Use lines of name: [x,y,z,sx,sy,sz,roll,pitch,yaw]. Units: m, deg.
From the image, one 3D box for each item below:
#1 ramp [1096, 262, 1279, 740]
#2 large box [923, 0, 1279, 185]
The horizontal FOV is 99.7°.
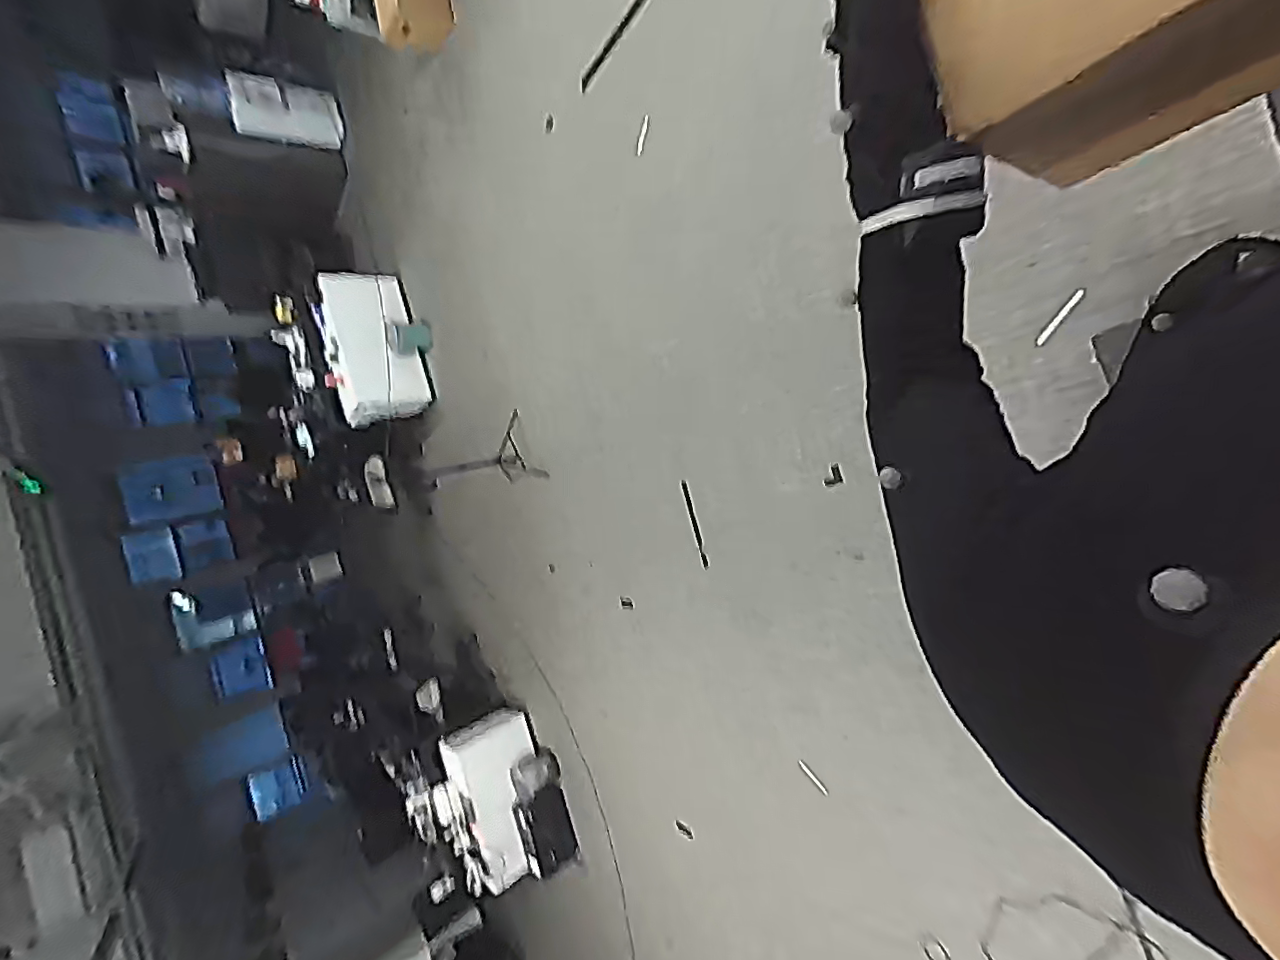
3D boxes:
ramp: [1.318,0.071,0.990,0.509,0.206,0.991,-23,84,49]
large box: [0.422,-0.463,0.338,0.408,0.320,0.320,-16,91,50]
